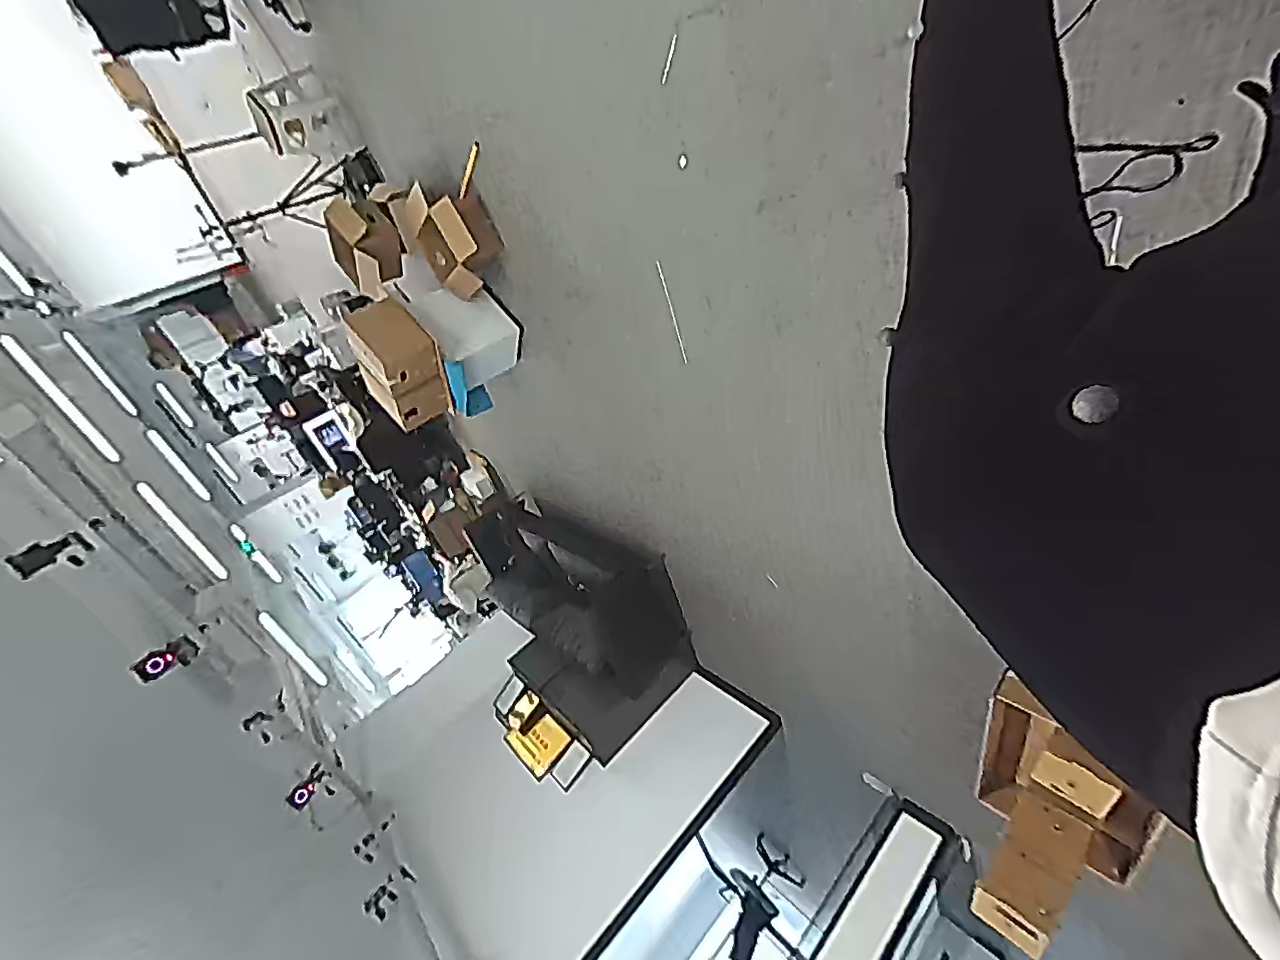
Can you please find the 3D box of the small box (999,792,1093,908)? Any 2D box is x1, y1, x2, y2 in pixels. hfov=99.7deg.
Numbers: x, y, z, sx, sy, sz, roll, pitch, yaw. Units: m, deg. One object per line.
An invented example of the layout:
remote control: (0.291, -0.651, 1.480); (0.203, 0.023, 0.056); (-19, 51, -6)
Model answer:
small box: (1.143, 1.035, 1.523); (0.168, 0.176, 0.179); (20, 136, 46)

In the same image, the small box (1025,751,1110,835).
small box: (1.258, 0.953, 1.603); (0.168, 0.176, 0.179); (20, 136, 45)
